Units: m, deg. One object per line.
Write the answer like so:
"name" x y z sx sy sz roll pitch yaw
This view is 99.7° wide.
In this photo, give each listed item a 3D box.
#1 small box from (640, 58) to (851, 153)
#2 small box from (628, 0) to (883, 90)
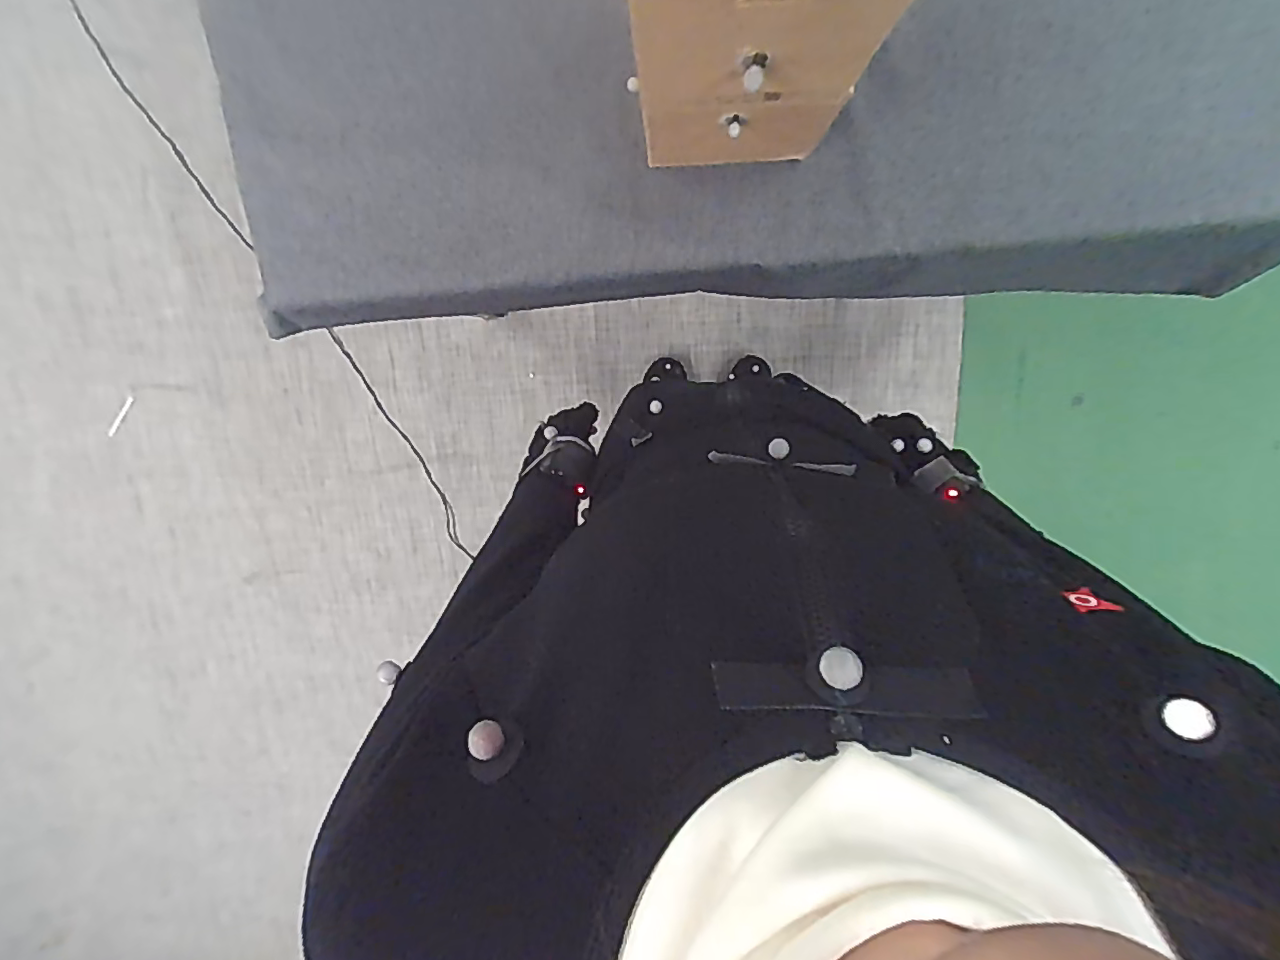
"small box" 0.090 -0.427 0.511 0.179 0.176 0.168 -2 105 3
"small box" 0.077 -0.384 0.354 0.168 0.176 0.179 -1 105 4
